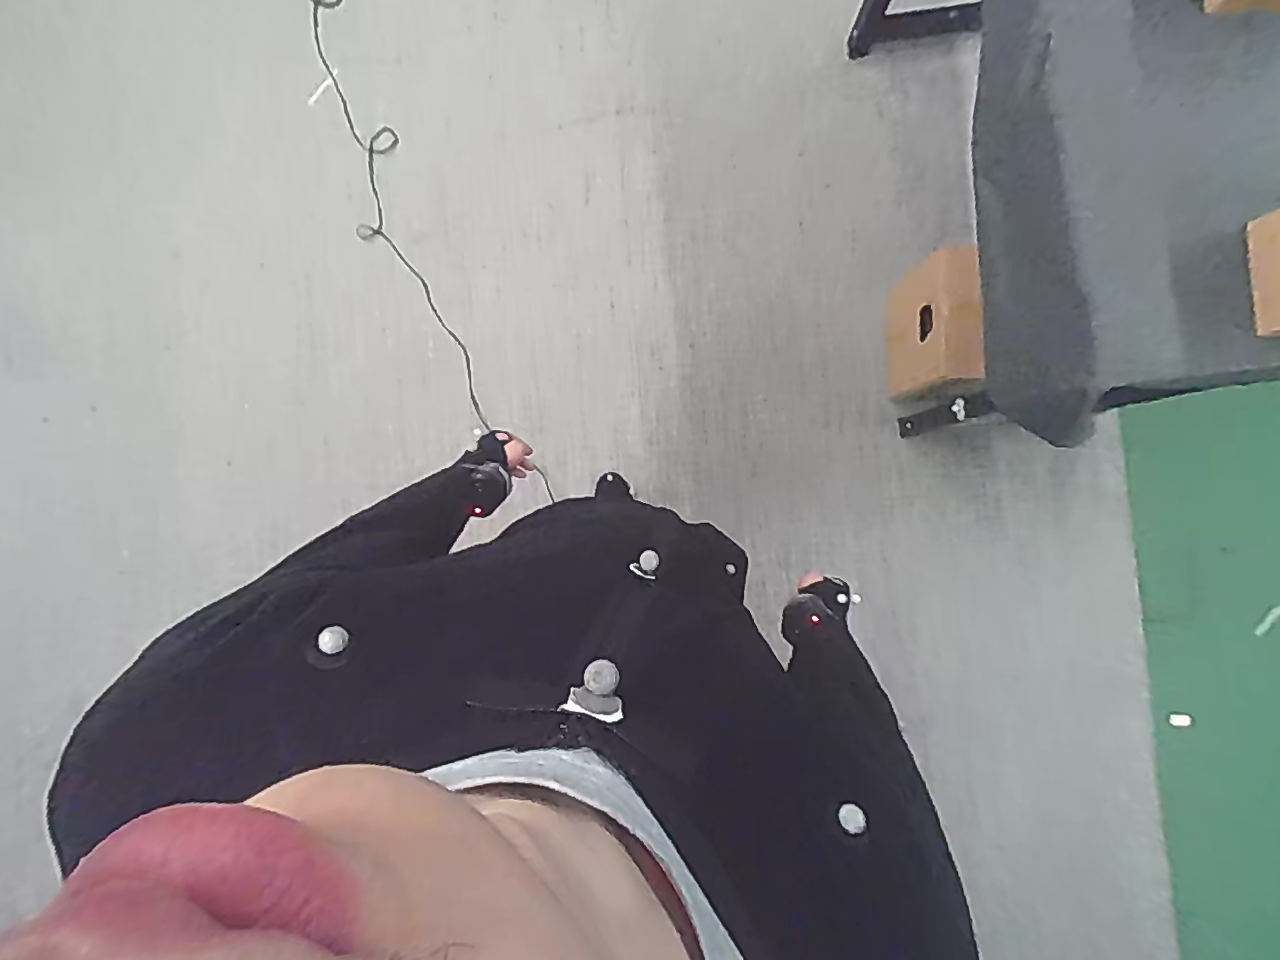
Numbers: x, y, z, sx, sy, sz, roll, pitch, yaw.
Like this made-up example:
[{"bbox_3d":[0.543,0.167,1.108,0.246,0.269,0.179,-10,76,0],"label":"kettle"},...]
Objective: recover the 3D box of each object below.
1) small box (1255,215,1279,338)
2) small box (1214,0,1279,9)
[{"bbox_3d":[0.995,-0.302,0.724,0.168,0.176,0.179,-2,88,2],"label":"small box"},{"bbox_3d":[0.944,-0.801,0.750,0.168,0.176,0.179,-3,87,0],"label":"small box"}]
